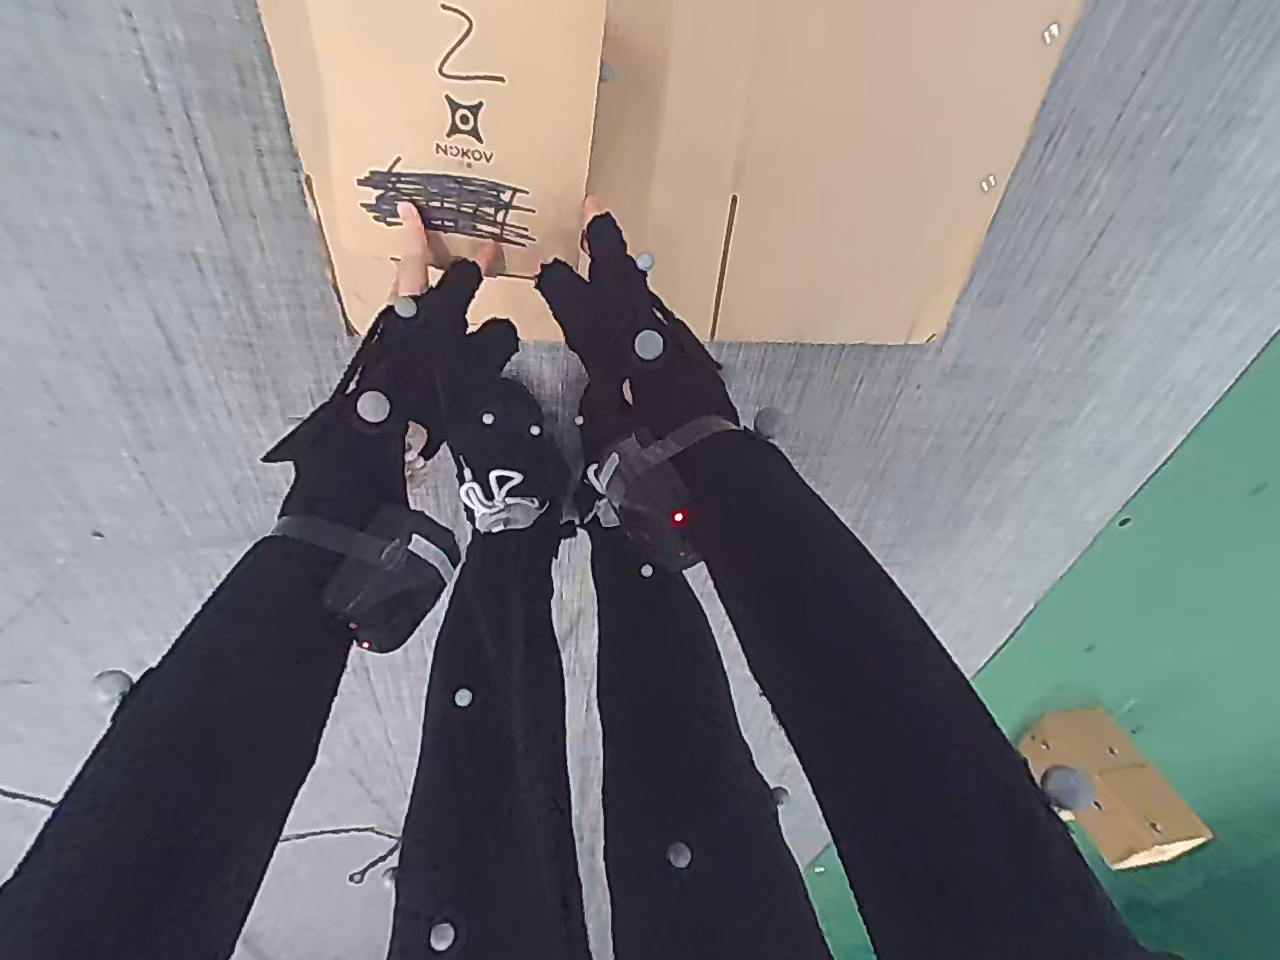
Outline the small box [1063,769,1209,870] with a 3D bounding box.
[{"bbox_3d":[1.256,0.864,1.385,0.179,0.176,0.168,-2,129,-9],"label":"small box"}]
